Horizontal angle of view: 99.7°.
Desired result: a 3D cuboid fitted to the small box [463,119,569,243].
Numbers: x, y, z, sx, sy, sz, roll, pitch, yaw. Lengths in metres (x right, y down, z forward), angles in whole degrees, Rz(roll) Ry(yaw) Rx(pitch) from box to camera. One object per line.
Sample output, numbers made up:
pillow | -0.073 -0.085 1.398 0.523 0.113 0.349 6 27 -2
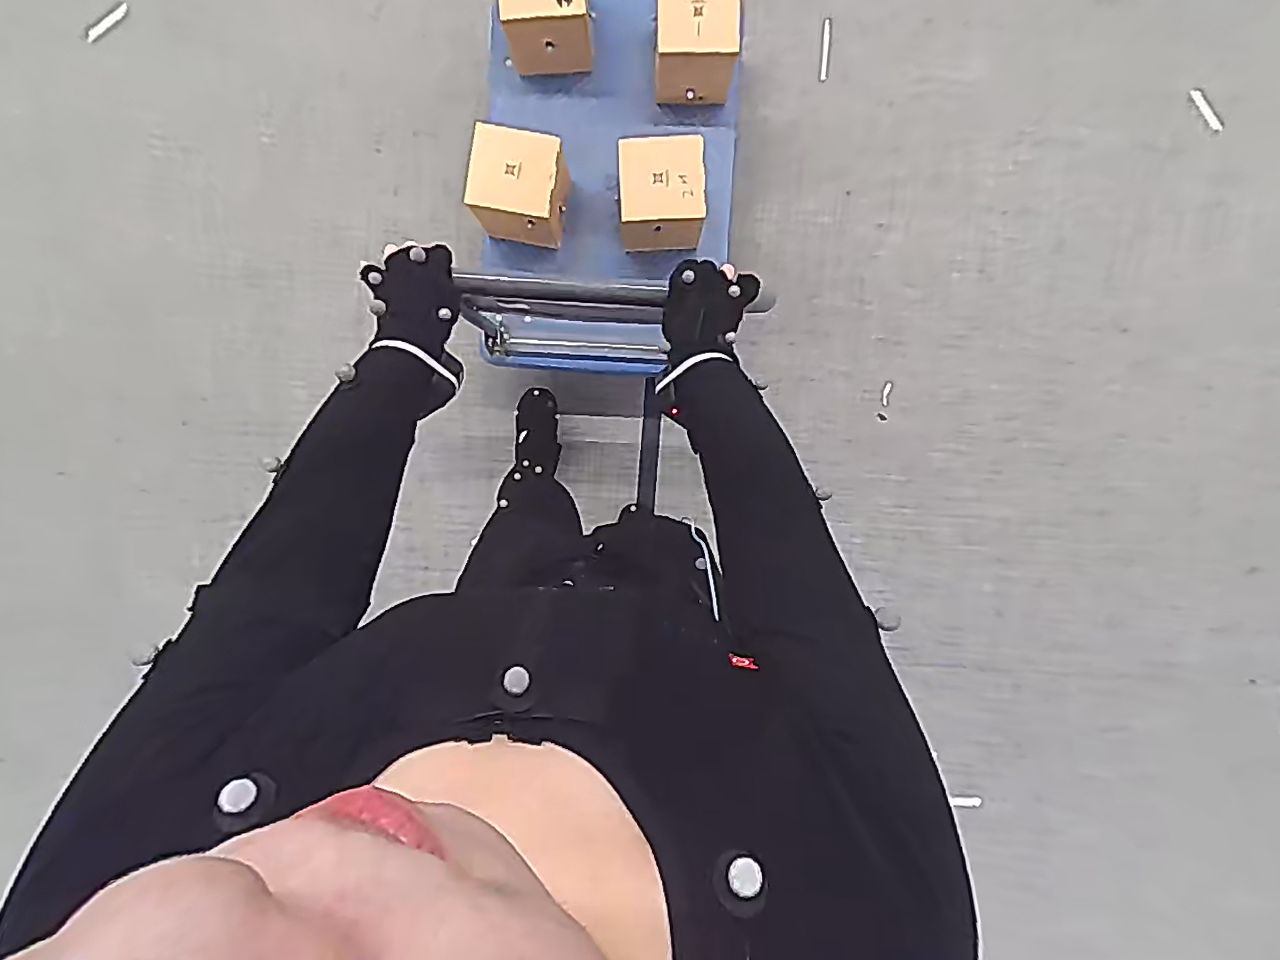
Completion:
small box | -0.259 -0.634 1.167 0.179 0.176 0.168 9 93 -2

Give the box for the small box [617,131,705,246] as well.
small box | 0.045 -0.619 1.167 0.179 0.176 0.168 -2 94 0

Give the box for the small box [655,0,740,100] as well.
small box | 0.117 -0.950 1.146 0.168 0.176 0.179 0 95 0
